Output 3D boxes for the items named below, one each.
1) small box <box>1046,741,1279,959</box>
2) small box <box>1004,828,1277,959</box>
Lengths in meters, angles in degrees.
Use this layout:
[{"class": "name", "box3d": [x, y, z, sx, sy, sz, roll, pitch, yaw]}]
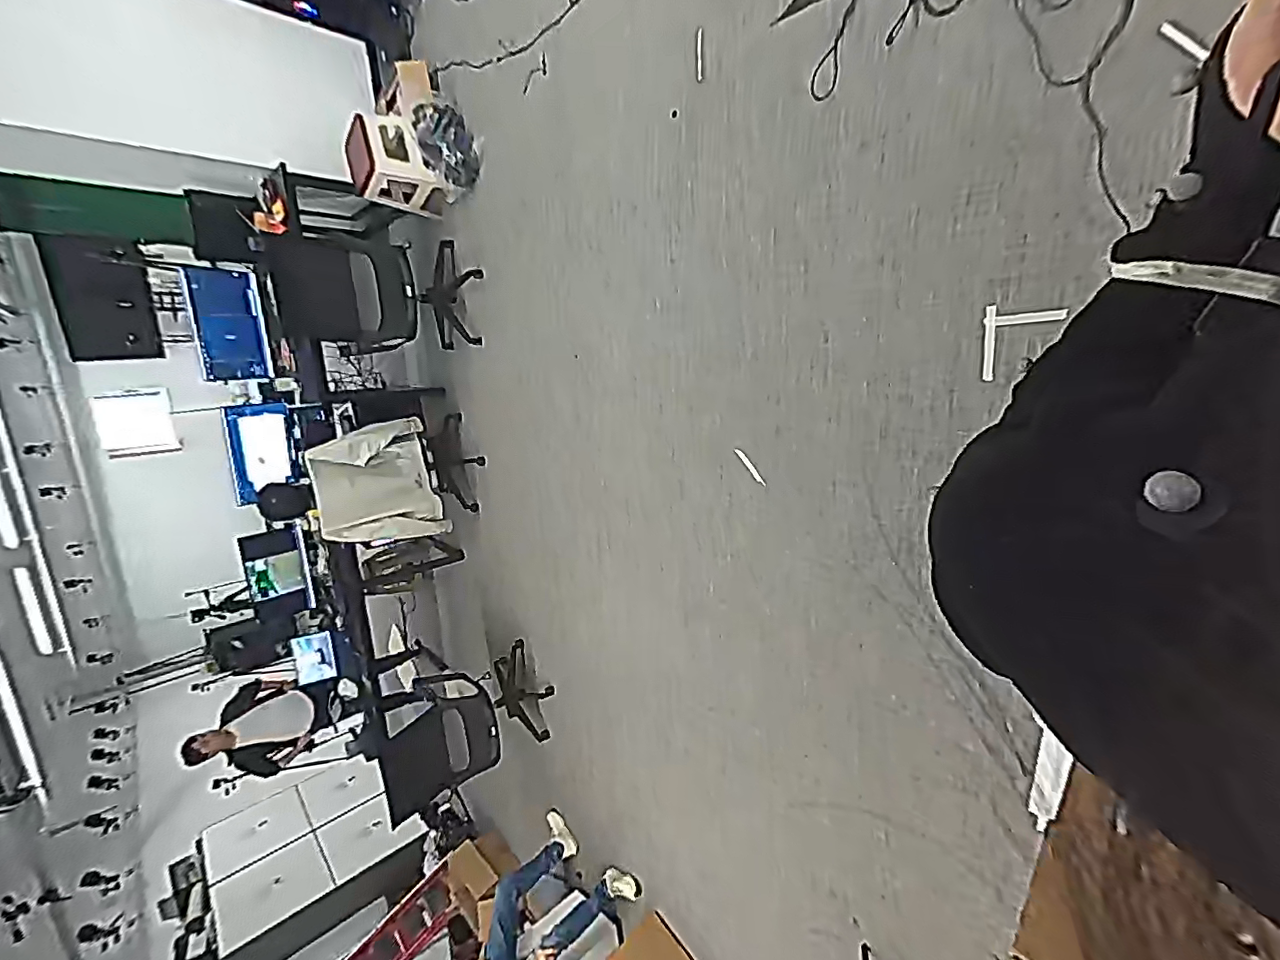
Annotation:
[{"class": "small box", "box3d": [0.529, 0.421, 0.564, 0.168, 0.176, 0.179, 14, 111, 44]}, {"class": "small box", "box3d": [0.409, 0.451, 0.455, 0.168, 0.176, 0.179, 16, 115, 43]}]
